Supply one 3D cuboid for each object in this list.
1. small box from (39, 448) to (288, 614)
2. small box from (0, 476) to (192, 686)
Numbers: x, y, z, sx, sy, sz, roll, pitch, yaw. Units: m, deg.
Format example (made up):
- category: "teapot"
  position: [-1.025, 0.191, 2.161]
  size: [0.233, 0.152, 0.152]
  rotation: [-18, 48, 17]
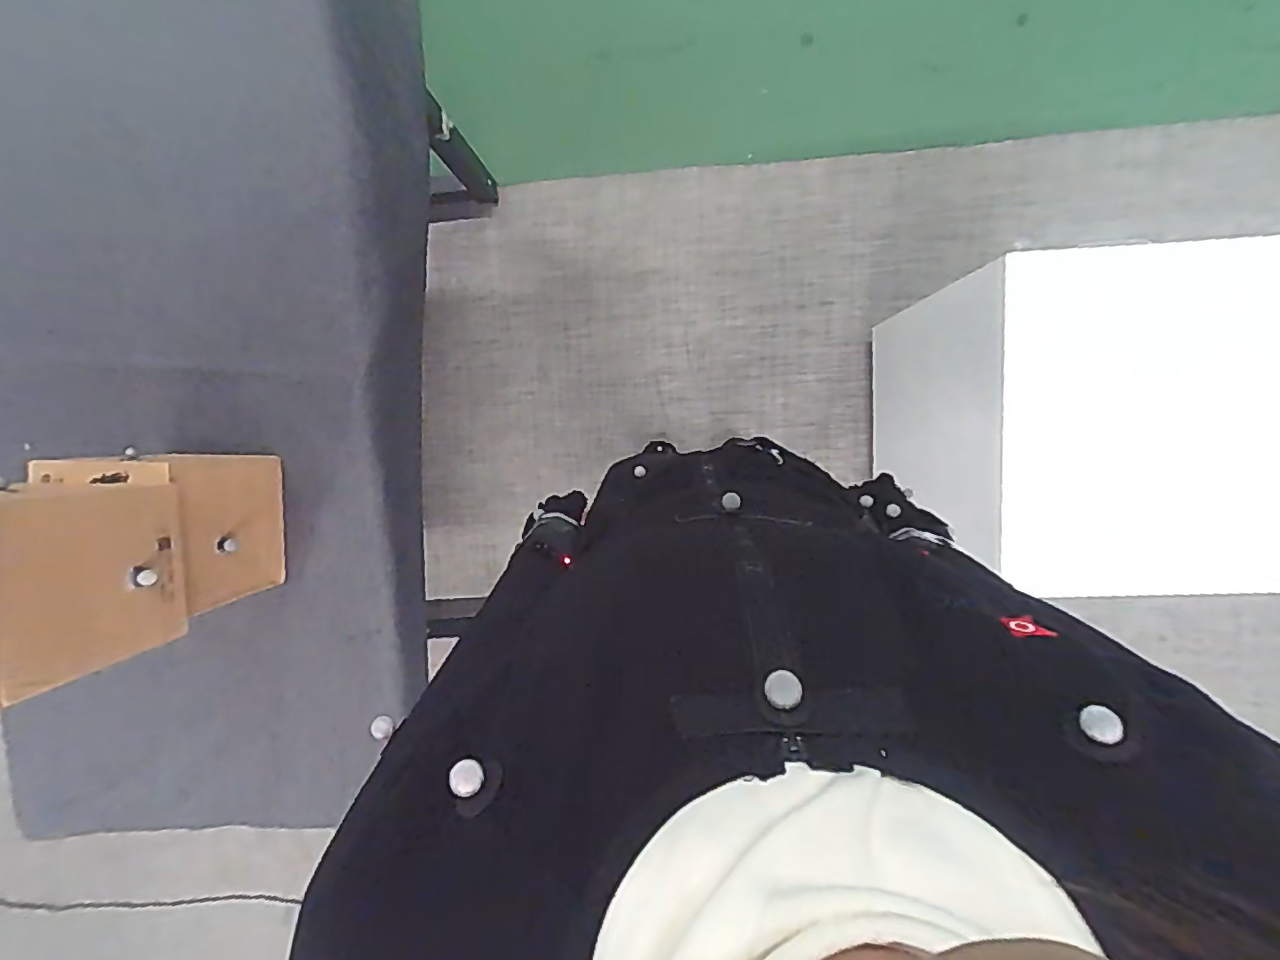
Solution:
- category: "small box"
  position: [-0.576, 0.054, 0.677]
  size: [0.168, 0.176, 0.179]
  rotation: [1, 96, 5]
- category: "small box"
  position: [-0.586, 0.085, 0.516]
  size: [0.179, 0.176, 0.168]
  rotation: [-3, 95, 7]
